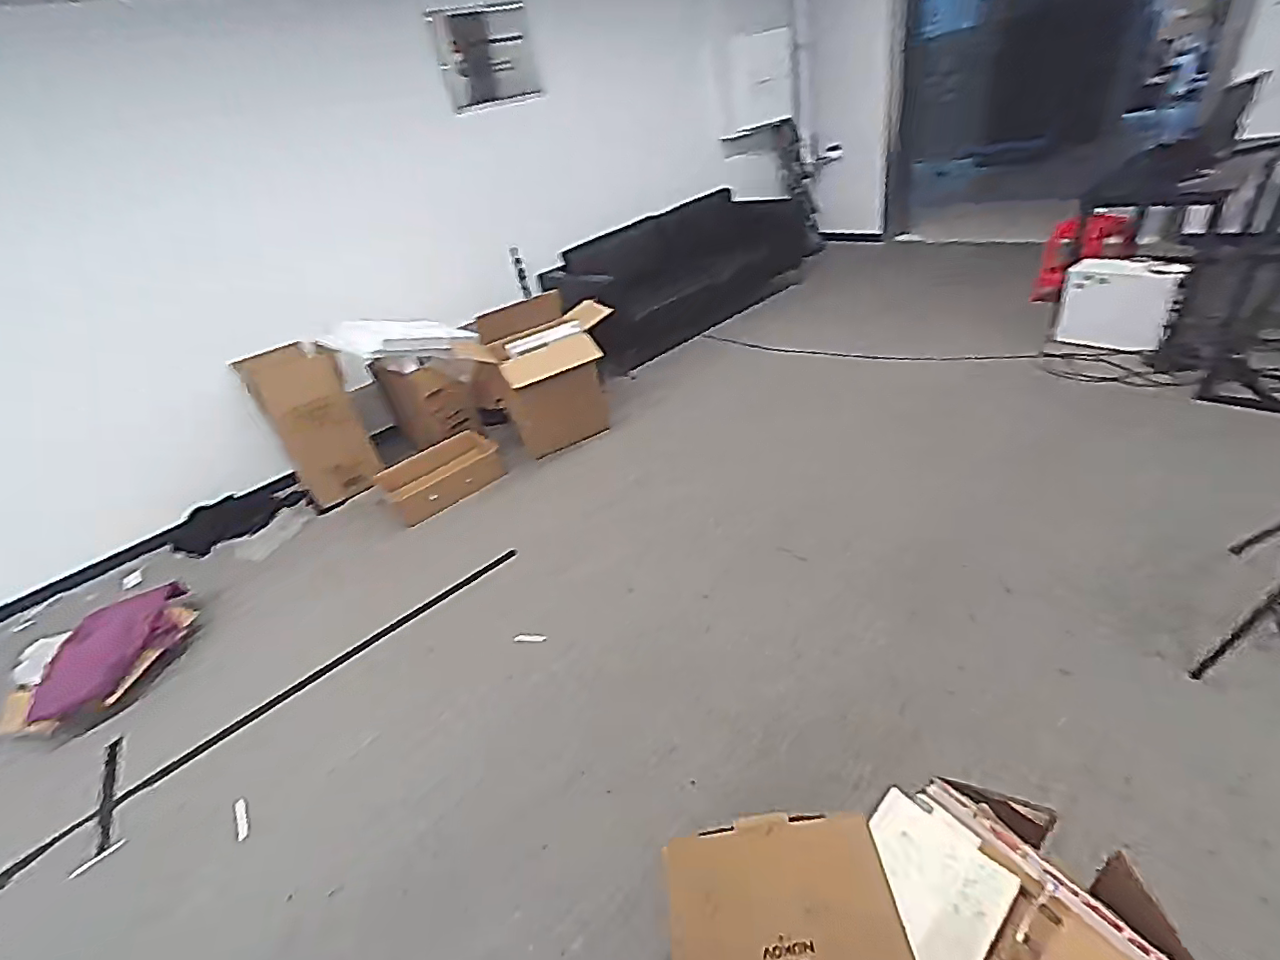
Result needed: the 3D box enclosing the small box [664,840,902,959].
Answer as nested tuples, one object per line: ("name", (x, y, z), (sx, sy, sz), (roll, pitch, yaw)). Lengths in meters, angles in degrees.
("small box", (0.116, 0.416, 0.428), (0.168, 0.176, 0.179), (-10, 46, 2))
